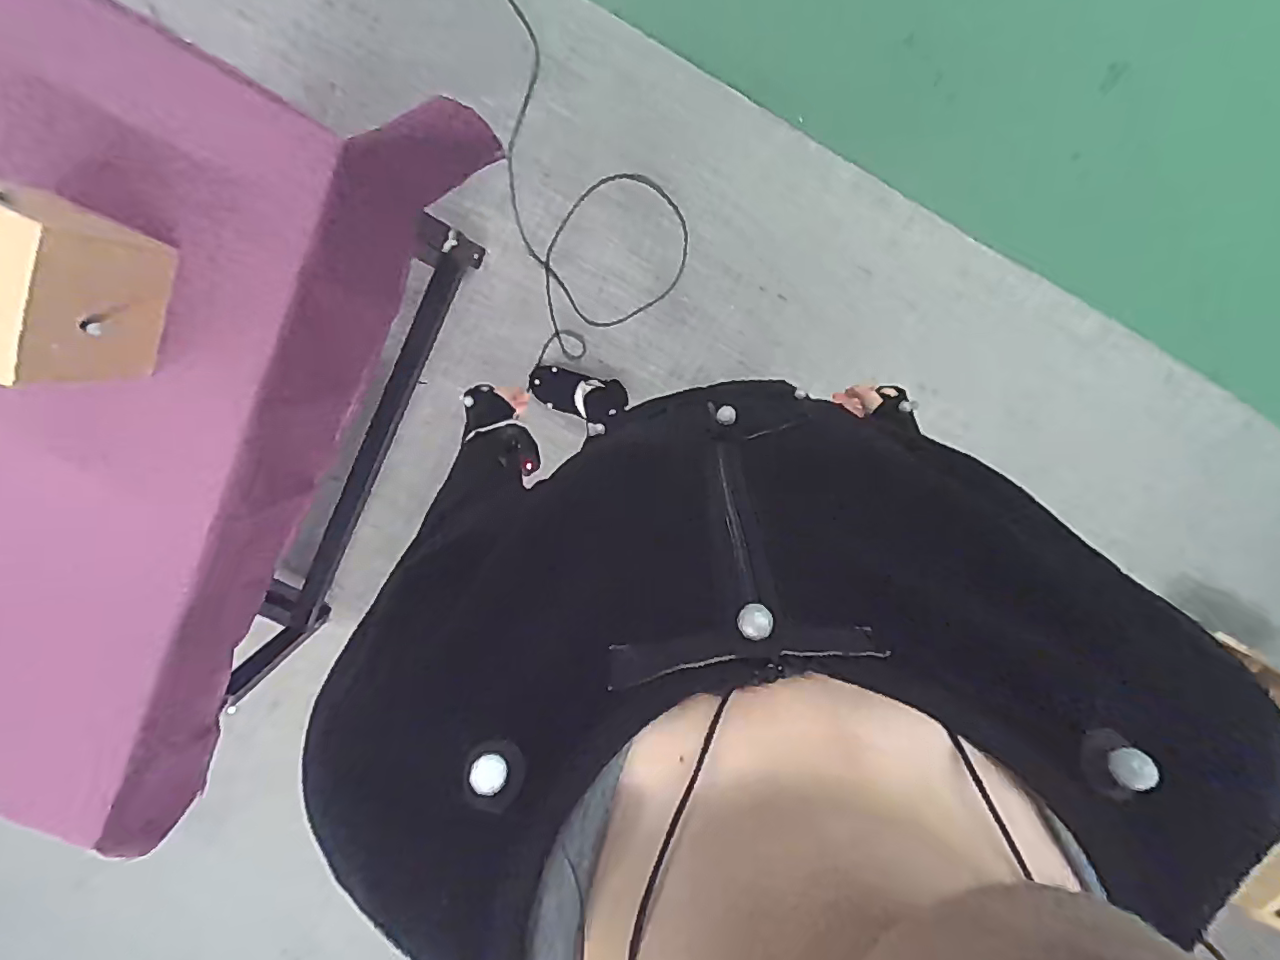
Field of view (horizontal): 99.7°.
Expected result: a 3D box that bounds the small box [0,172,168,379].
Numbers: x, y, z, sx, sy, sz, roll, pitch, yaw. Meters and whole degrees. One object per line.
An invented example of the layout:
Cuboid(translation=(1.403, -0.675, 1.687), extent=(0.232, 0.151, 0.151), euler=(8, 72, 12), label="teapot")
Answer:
Cuboid(translation=(-0.689, -0.232, 0.608), extent=(0.168, 0.176, 0.179), euler=(25, 103, -6), label="small box")
